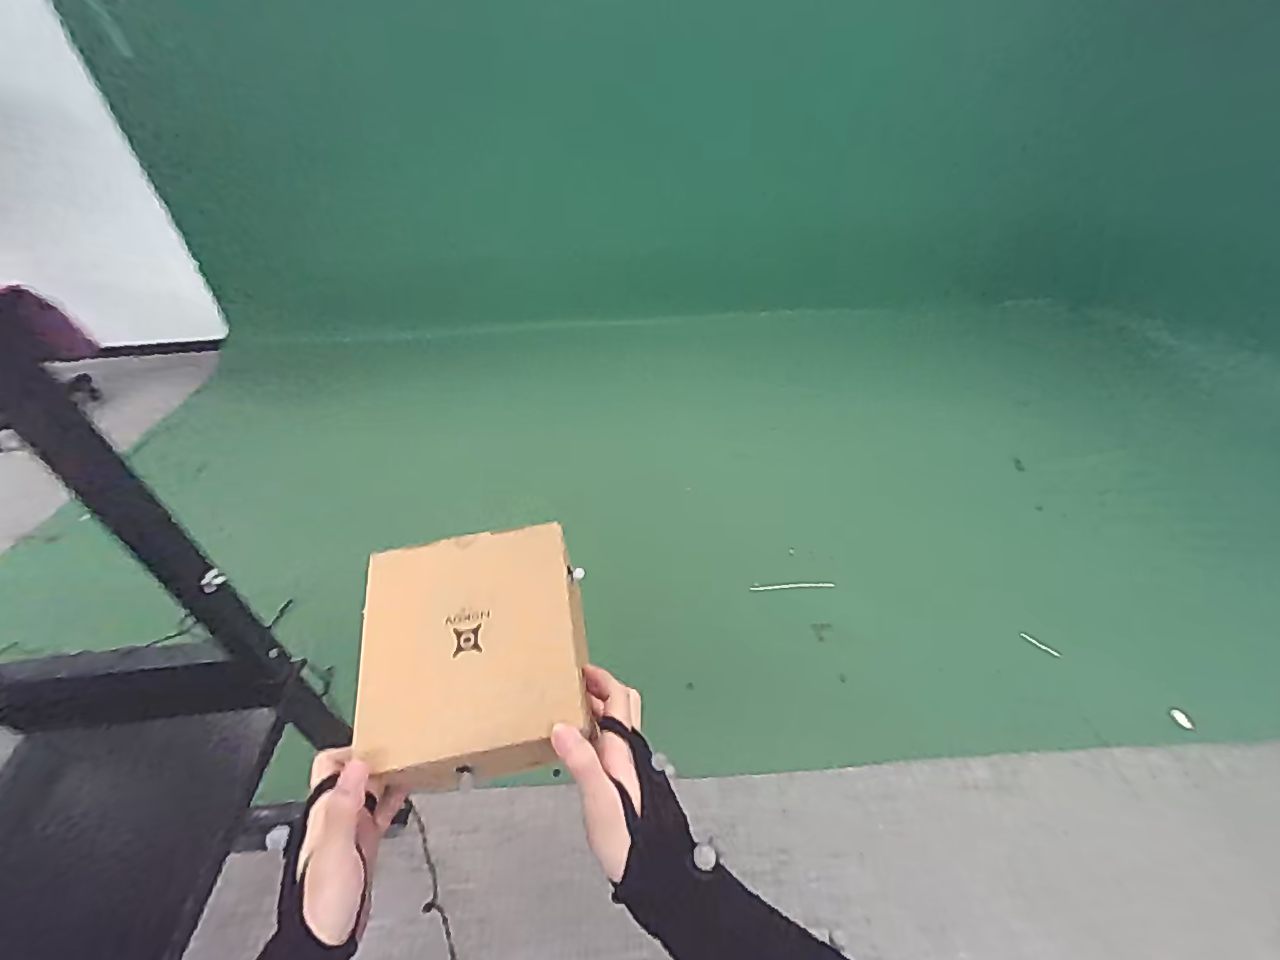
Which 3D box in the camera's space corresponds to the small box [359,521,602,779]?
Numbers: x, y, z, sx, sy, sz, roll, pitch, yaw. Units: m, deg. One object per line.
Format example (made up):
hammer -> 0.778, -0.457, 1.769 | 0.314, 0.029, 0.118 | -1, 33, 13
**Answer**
small box -> -0.131, 0.163, 0.495 | 0.168, 0.176, 0.179 | -9, 57, -5
